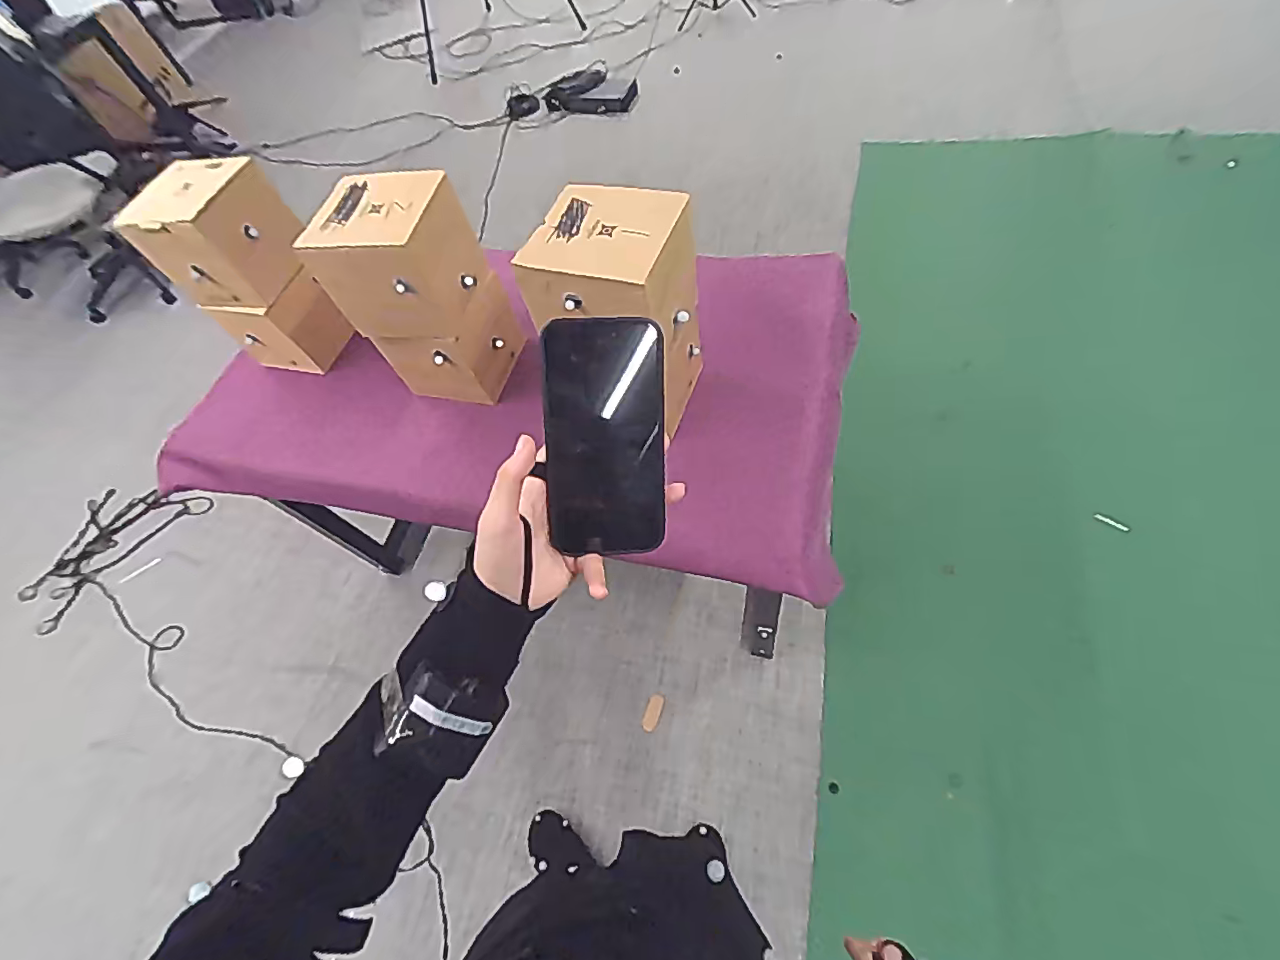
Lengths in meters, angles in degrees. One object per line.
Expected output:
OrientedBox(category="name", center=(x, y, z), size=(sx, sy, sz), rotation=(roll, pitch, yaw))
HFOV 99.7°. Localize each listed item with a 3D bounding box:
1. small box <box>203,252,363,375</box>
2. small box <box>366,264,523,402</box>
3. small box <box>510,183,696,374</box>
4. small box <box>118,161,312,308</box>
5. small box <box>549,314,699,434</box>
OrientedBox(category="small box", center=(-0.697, -0.331, 1.081), size=(0.168, 0.176, 0.179), rotation=(9, 62, 16))
OrientedBox(category="small box", center=(-0.332, -0.256, 0.963), size=(0.179, 0.176, 0.168), rotation=(9, 62, 16))
OrientedBox(category="small box", center=(-0.035, -0.262, 0.716), size=(0.179, 0.176, 0.168), rotation=(14, 63, 18))
OrientedBox(category="small box", center=(-0.723, -0.421, 0.946), size=(0.168, 0.176, 0.179), rotation=(5, 61, 13))
OrientedBox(category="small box", center=(-0.012, -0.193, 0.864), size=(0.179, 0.176, 0.168), rotation=(14, 63, 19))
